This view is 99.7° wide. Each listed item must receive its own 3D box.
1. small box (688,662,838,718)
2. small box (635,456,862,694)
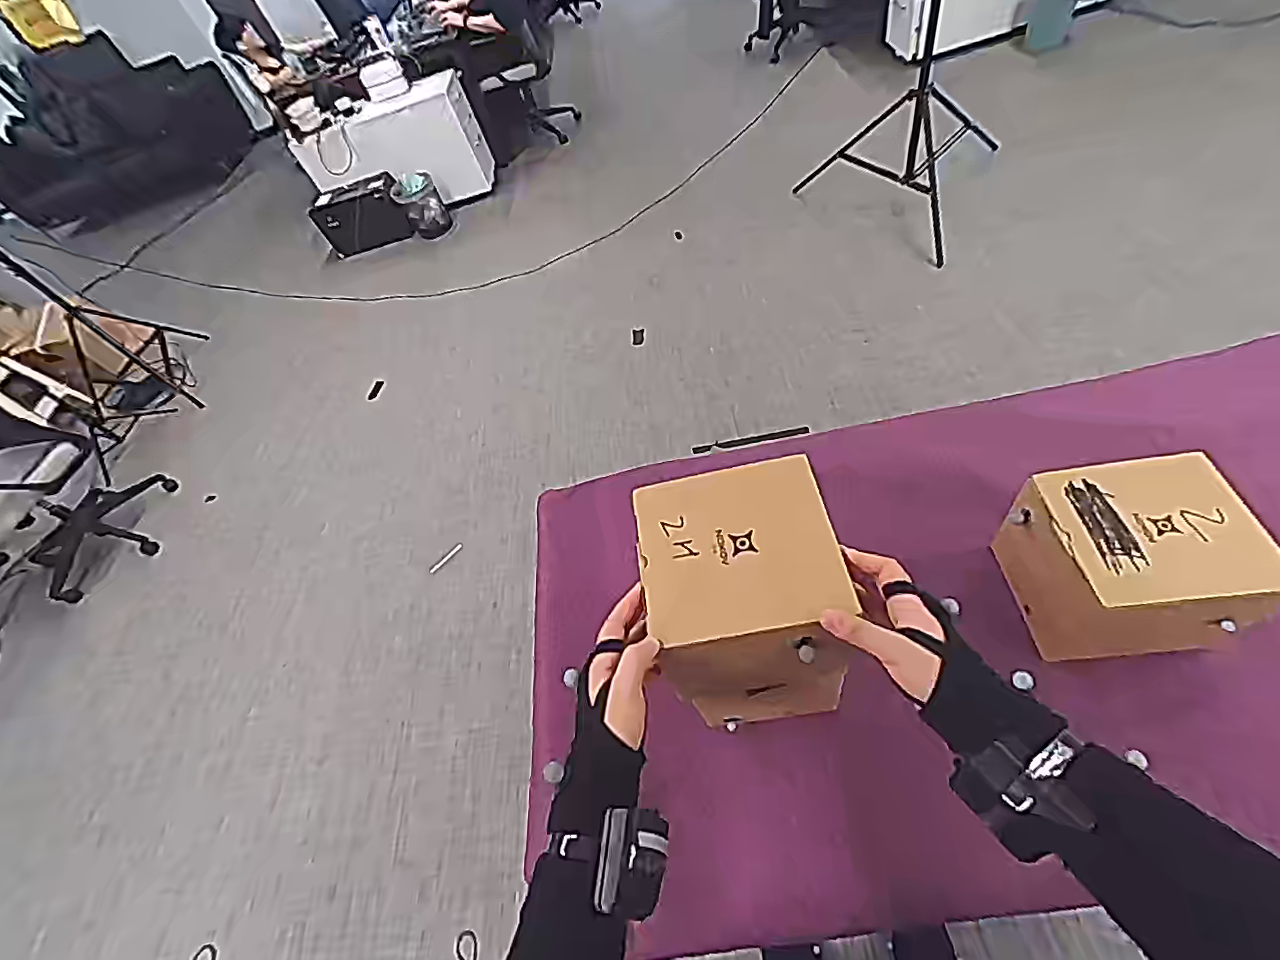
[{"bbox_3d":[0.141,0.189,0.680,0.168,0.176,0.179,-11,52,8],"label":"small box"},{"bbox_3d":[0.102,0.103,0.545,0.179,0.176,0.168,-12,53,7],"label":"small box"}]
